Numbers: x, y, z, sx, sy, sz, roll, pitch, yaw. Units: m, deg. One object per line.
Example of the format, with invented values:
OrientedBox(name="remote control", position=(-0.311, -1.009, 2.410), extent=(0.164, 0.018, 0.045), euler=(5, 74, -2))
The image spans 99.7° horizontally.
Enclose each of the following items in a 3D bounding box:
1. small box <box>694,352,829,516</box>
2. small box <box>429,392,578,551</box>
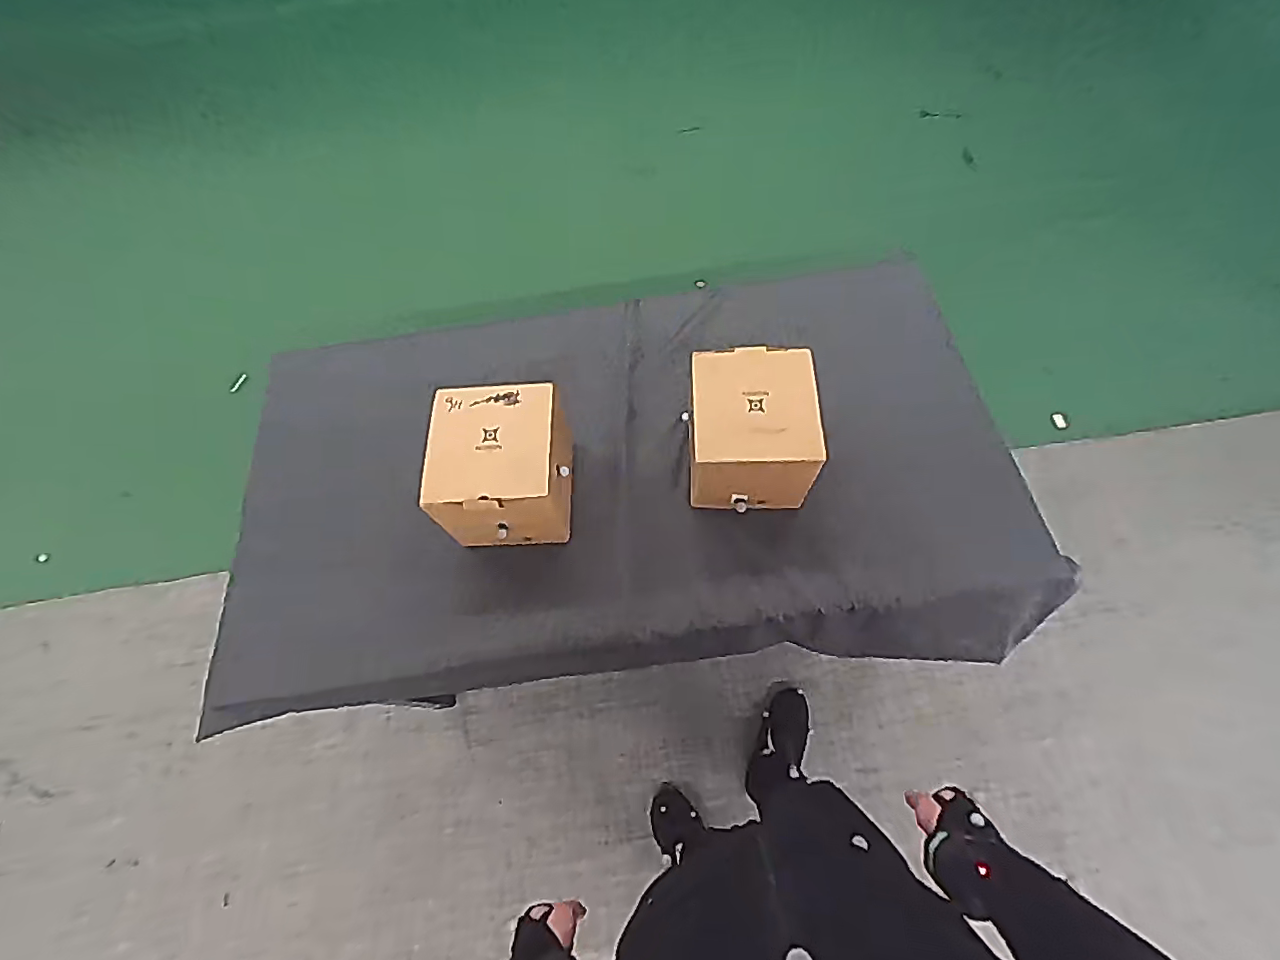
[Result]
OrientedBox(name="small box", position=(0.162, -0.063, 0.775), extent=(0.168, 0.176, 0.179), euler=(0, 64, 6))
OrientedBox(name="small box", position=(-0.187, -0.003, 0.789), extent=(0.168, 0.176, 0.179), euler=(-6, 63, 2))
